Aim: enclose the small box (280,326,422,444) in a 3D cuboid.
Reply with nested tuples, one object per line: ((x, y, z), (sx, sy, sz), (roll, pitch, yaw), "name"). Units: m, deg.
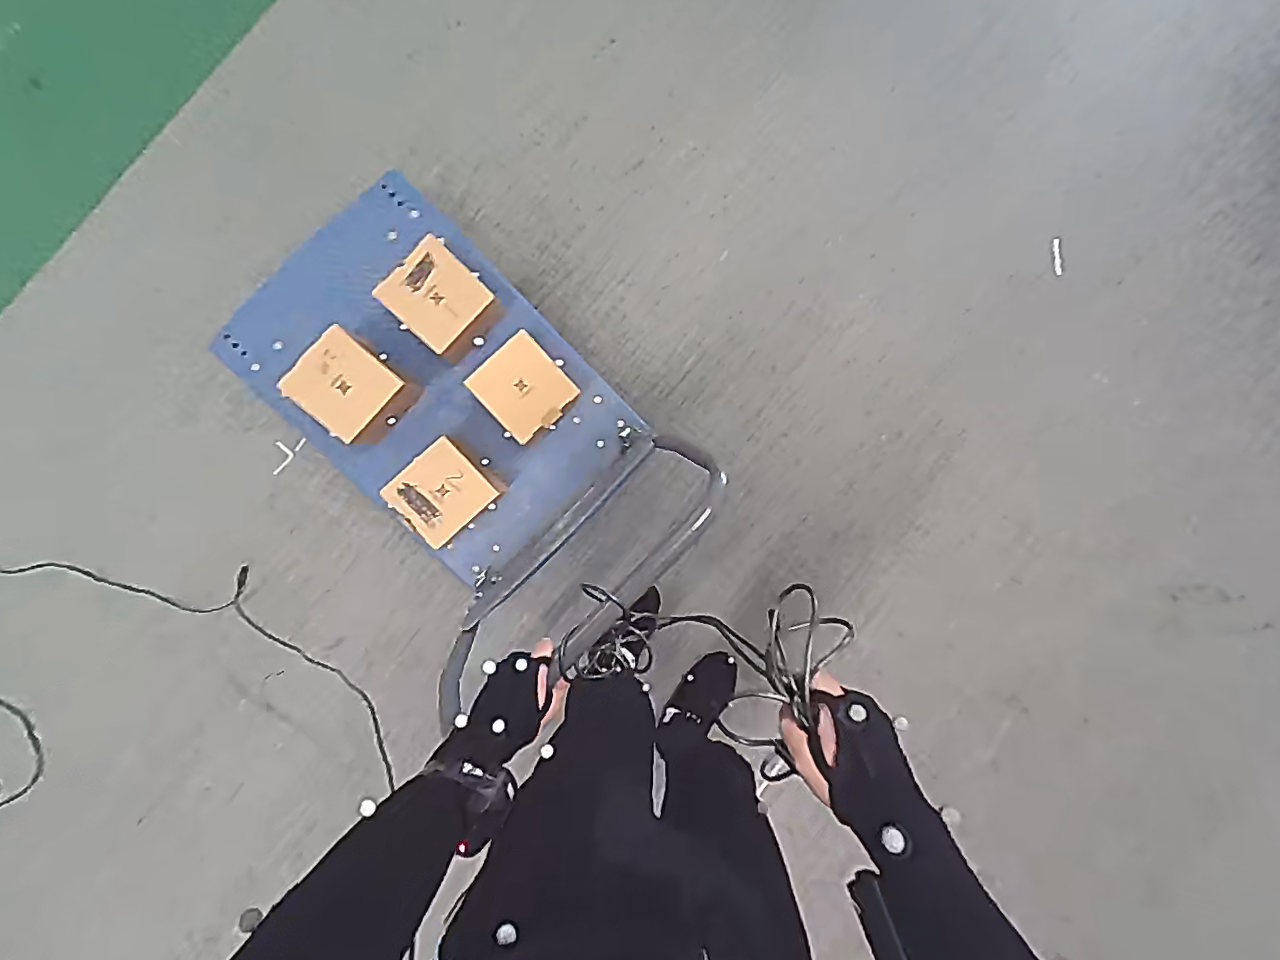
((-0.596, -0.194, 1.145), (0.179, 0.176, 0.168), (43, 88, -7), "small box")

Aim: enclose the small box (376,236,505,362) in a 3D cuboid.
((-0.413, -0.373, 1.152), (0.179, 0.176, 0.168), (44, 89, -8), "small box")

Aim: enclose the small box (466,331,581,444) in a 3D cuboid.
((-0.248, -0.193, 1.185), (0.168, 0.176, 0.179), (-42, 98, -2), "small box")
